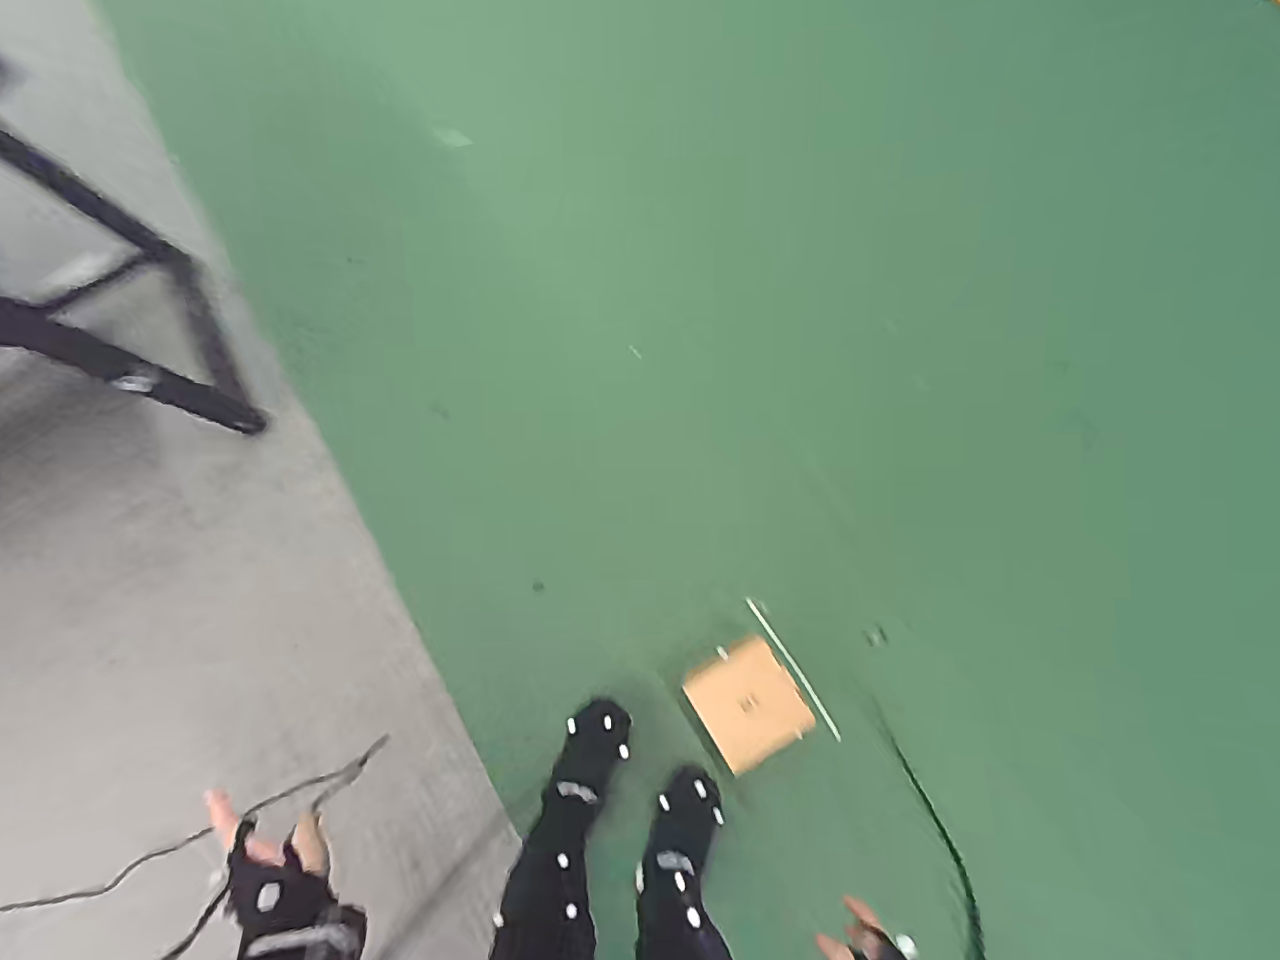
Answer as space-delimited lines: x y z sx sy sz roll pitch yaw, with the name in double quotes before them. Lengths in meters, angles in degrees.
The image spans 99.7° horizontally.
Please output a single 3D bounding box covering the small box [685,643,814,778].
"small box" 0.203 0.433 1.045 0.179 0.176 0.168 -31 76 -4
